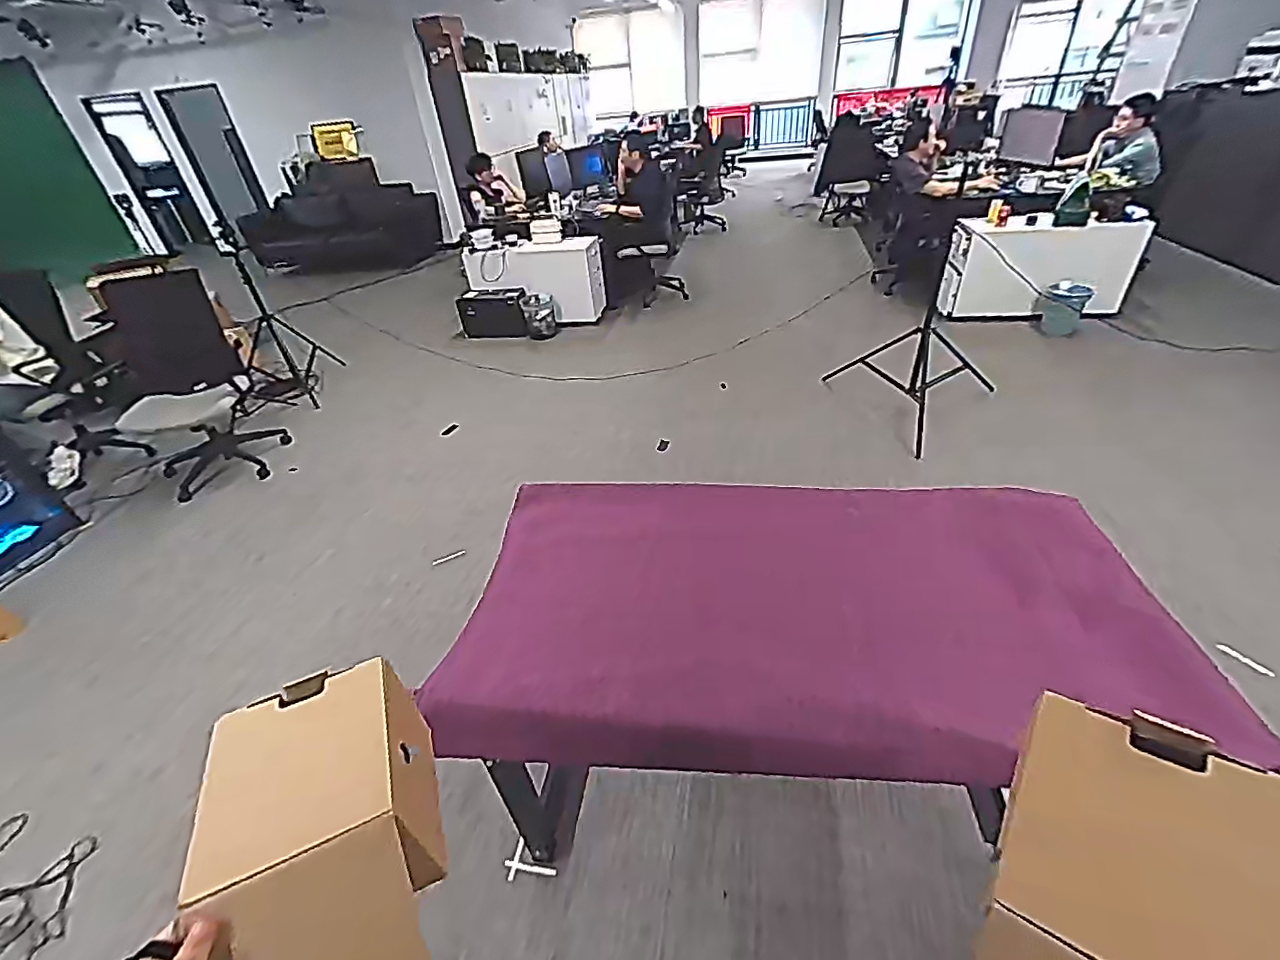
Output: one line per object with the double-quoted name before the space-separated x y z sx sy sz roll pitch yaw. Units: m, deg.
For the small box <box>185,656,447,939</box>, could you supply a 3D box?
"small box" -0.312 0.325 0.555 0.168 0.176 0.179 -19 39 -17
